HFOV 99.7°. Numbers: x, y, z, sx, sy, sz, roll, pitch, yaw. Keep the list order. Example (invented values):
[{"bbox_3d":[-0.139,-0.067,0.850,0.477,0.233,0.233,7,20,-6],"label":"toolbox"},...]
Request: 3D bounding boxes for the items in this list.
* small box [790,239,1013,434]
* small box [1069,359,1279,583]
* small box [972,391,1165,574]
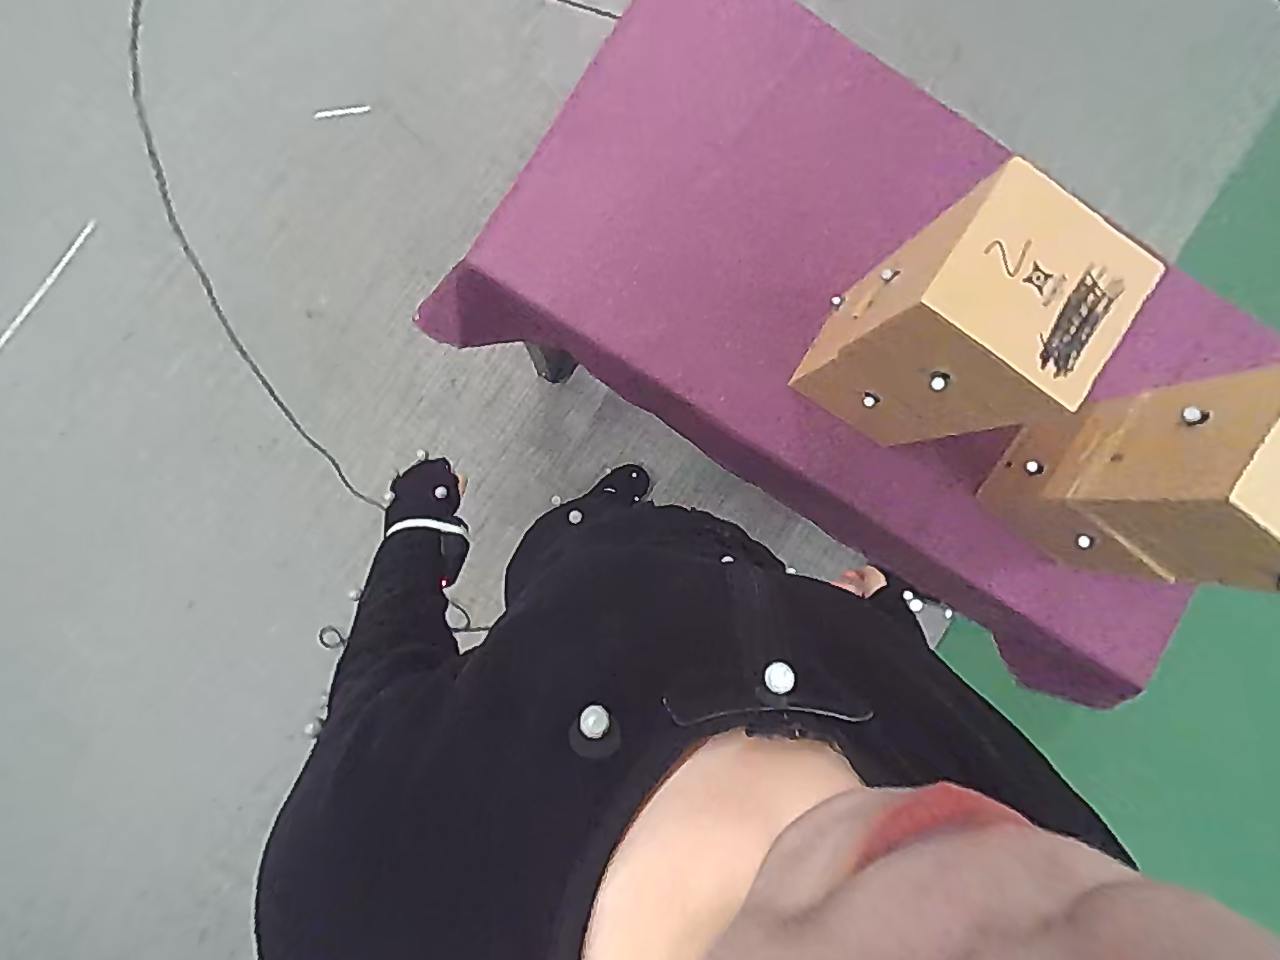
[{"bbox_3d":[0.332,-0.174,0.725,0.179,0.176,0.168,33,87,-5],"label":"small box"},{"bbox_3d":[0.634,-0.001,0.588,0.179,0.176,0.168,36,87,-4],"label":"small box"},{"bbox_3d":[0.616,0.006,0.750,0.179,0.176,0.168,39,87,-4],"label":"small box"}]
